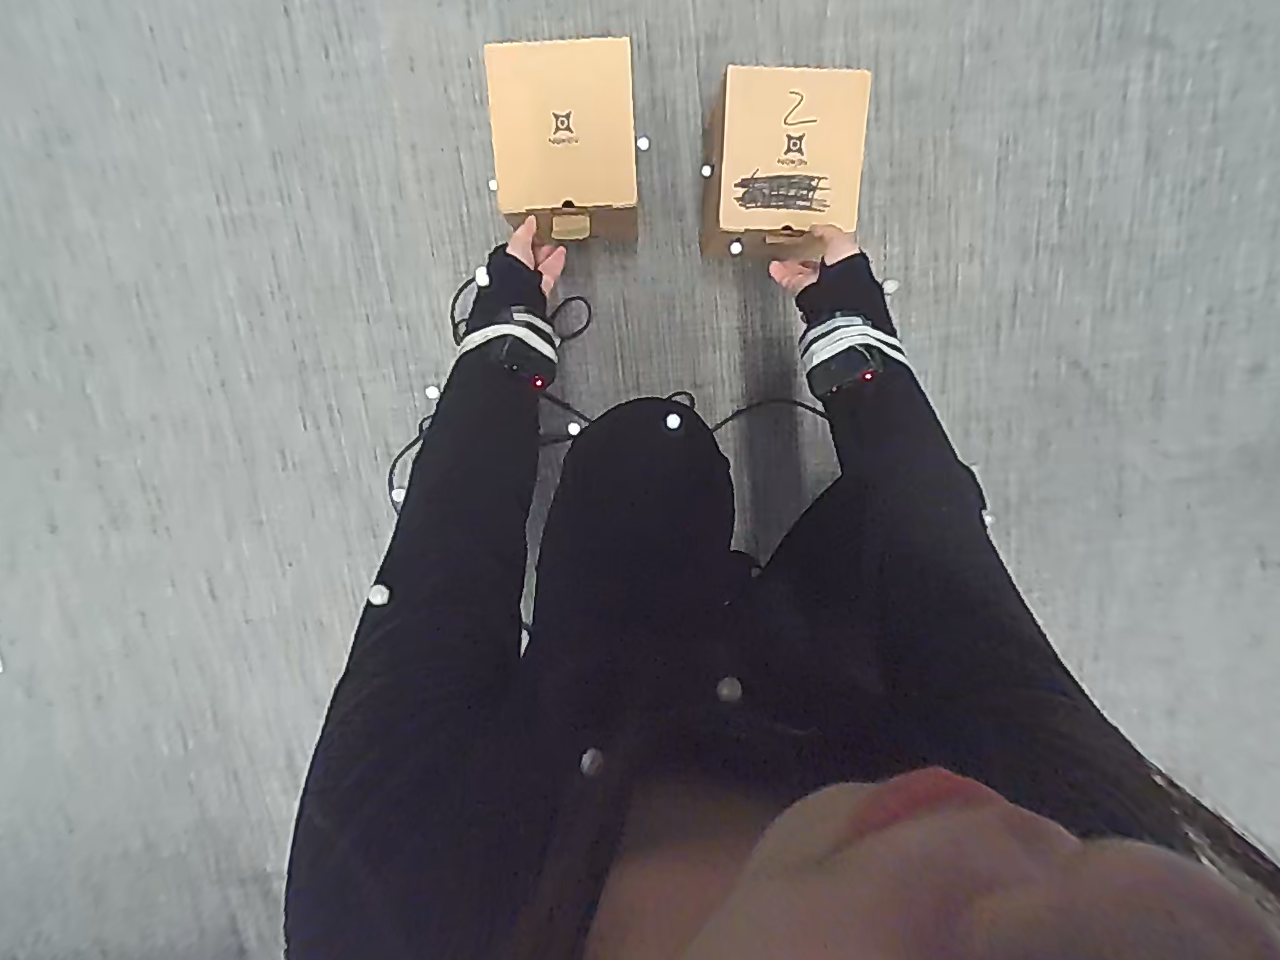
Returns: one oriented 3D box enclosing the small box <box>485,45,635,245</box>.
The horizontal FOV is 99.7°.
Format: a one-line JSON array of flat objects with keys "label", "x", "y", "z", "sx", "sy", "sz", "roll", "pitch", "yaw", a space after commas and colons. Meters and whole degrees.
[{"label": "small box", "x": -0.093, "y": -0.419, "z": 0.703, "sx": 0.168, "sy": 0.176, "sz": 0.179, "roll": -3, "pitch": 103, "yaw": 0}]
